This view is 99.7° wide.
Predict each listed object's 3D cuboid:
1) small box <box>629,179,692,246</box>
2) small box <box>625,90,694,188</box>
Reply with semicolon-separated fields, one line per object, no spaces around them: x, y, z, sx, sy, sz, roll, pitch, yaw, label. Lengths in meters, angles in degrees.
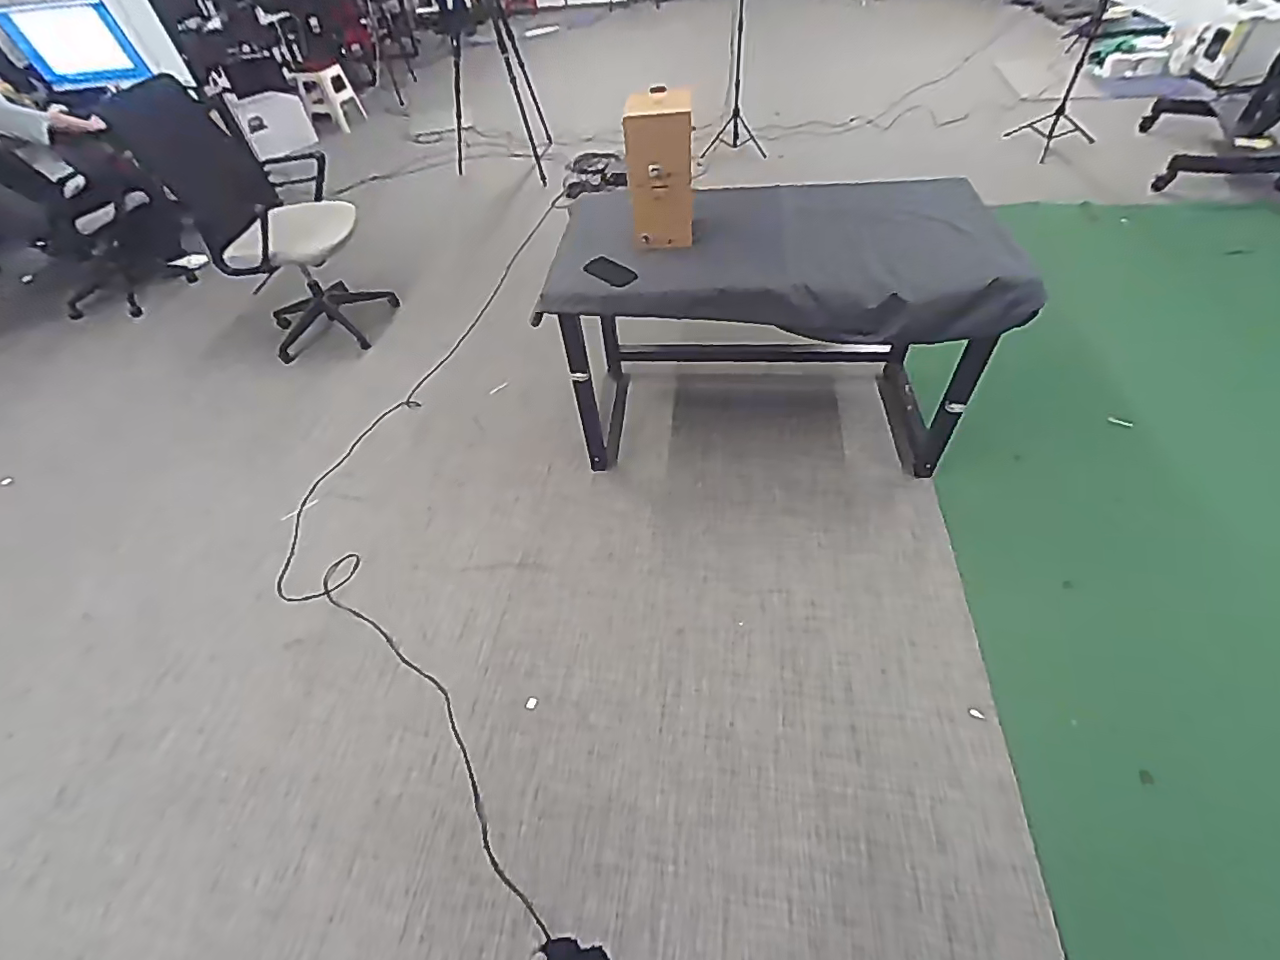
0.063;-0.772;1.516;0.168;0.176;0.179;0;49;5;small box
0.055;-0.877;1.393;0.168;0.176;0.179;-2;51;5;small box
